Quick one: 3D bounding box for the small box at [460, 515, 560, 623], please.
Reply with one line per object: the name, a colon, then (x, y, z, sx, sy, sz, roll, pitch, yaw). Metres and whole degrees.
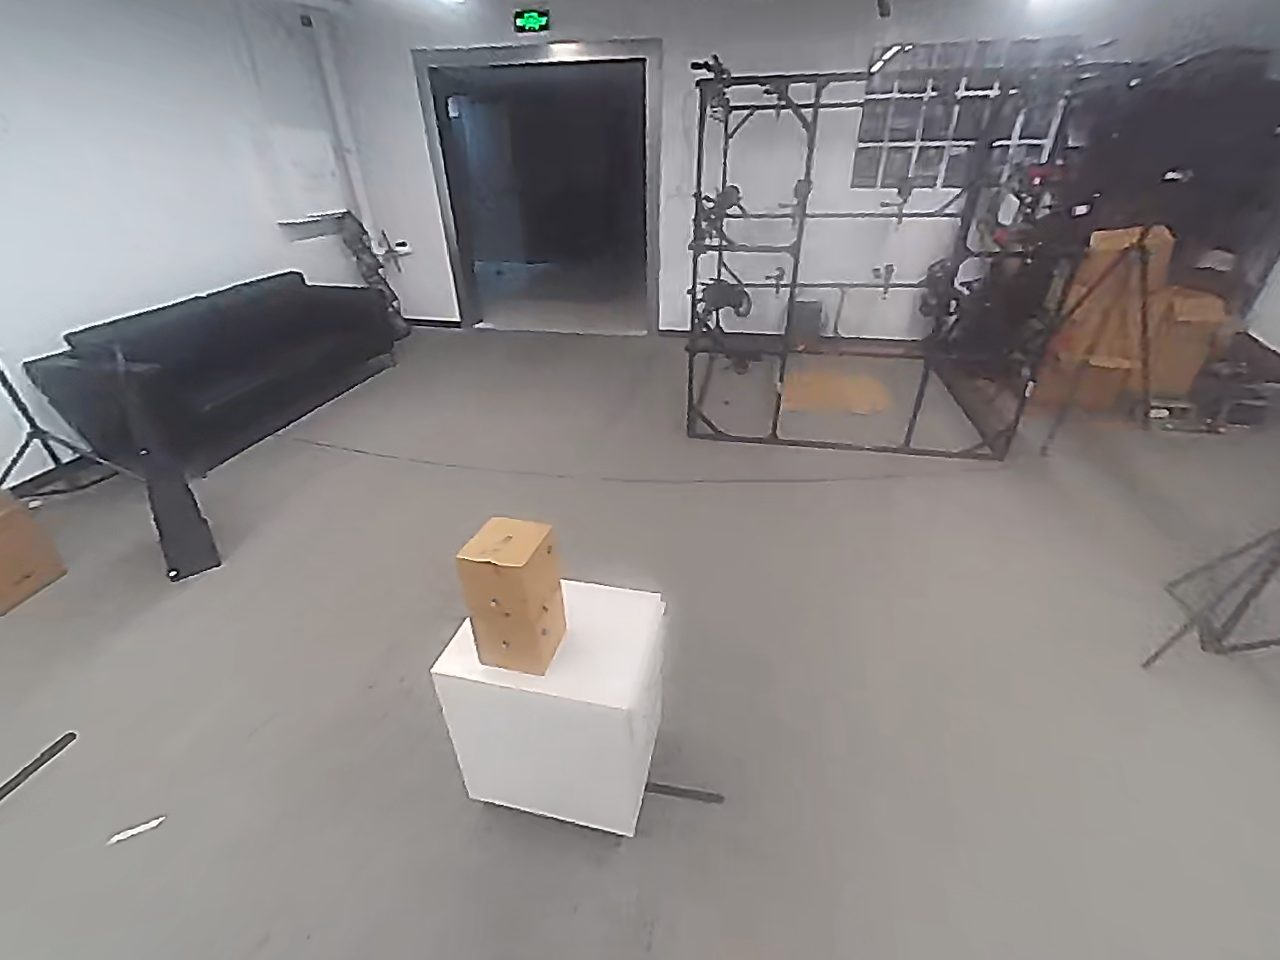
small box: (-0.299, 0.208, 1.286, 0.168, 0.176, 0.179, 6, 31, 14)
